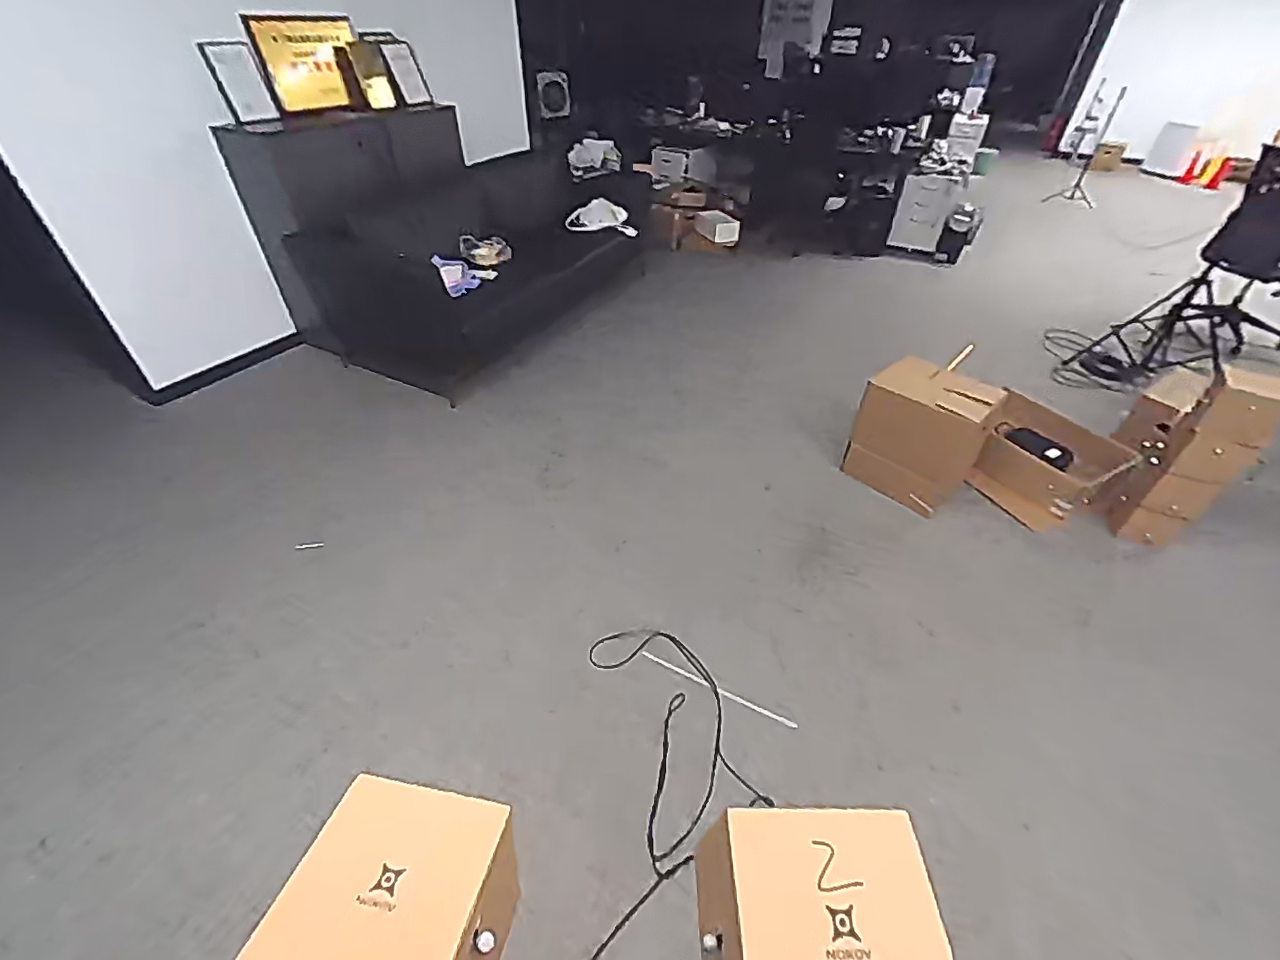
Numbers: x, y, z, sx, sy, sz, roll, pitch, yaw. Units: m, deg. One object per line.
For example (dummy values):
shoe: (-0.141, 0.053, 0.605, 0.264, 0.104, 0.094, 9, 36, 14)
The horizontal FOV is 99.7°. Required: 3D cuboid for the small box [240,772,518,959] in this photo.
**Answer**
small box: (-0.221, 0.420, 0.506, 0.168, 0.176, 0.179, 8, 30, 7)
